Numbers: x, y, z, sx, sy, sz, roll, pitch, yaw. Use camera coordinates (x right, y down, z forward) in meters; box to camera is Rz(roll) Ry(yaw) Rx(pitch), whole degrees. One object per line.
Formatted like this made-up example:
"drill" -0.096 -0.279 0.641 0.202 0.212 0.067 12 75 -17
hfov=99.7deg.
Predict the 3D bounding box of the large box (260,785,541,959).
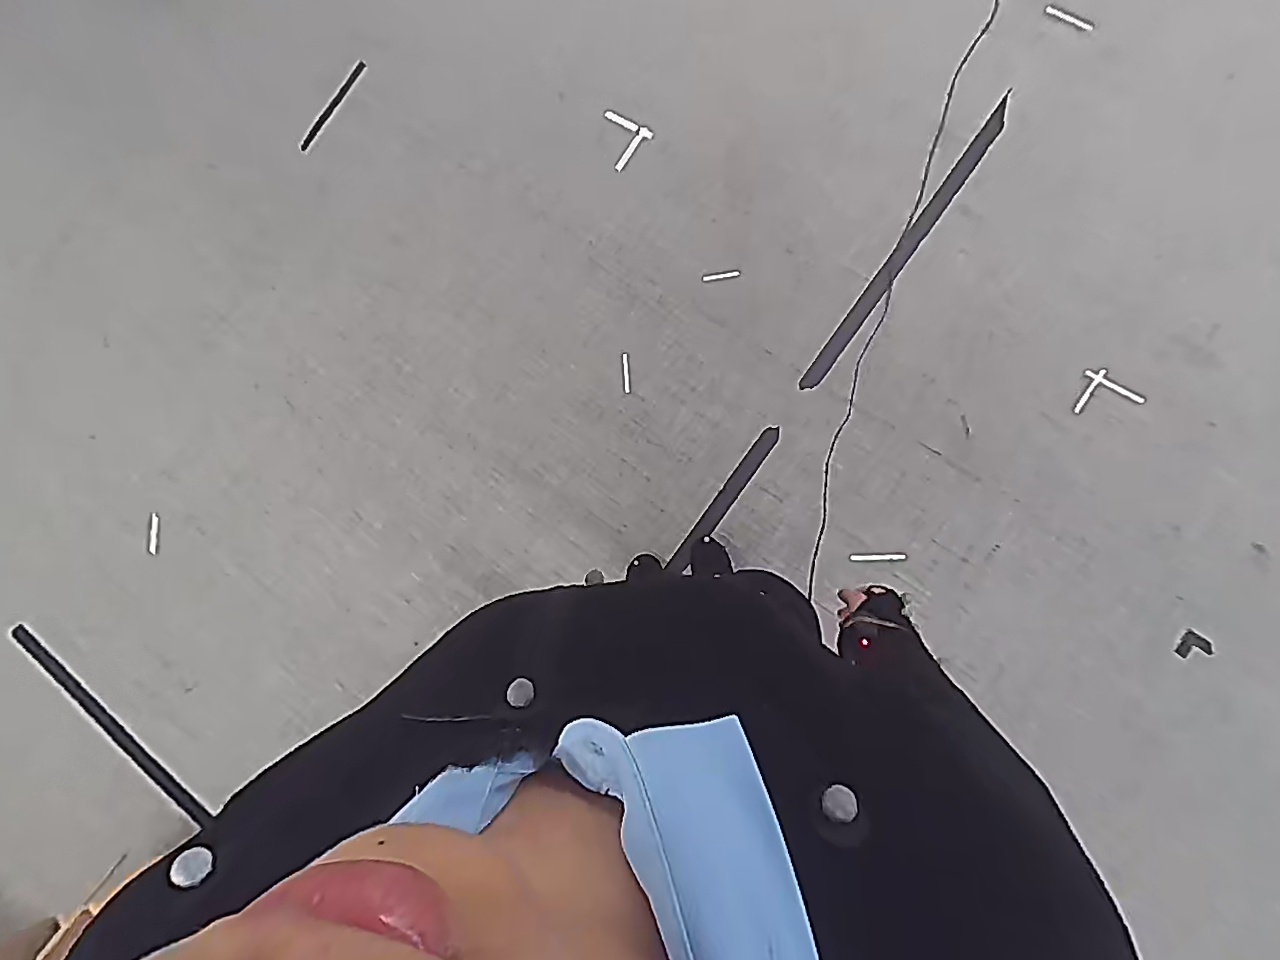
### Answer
"large box" -0.489 0.957 1.150 0.408 0.320 0.320 35 89 9
